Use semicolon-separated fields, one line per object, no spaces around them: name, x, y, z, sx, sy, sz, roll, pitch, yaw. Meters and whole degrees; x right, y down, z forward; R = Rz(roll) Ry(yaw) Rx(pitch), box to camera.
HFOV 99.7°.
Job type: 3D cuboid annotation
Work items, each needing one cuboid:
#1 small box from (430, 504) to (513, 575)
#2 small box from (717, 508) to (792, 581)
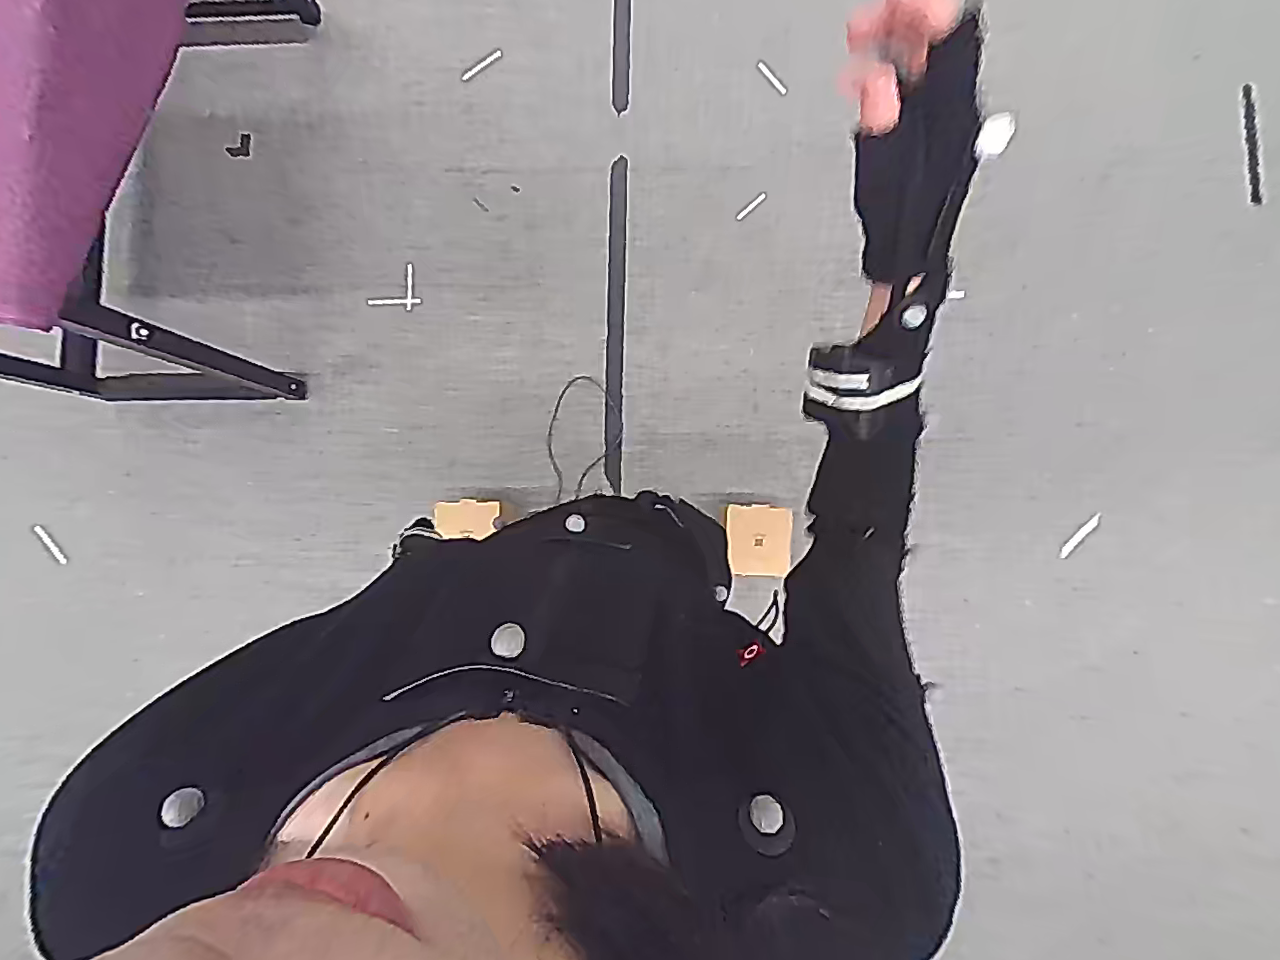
small box;-0.438;0.158;1.429;0.168;0.176;0.179;1;84;0
small box;0.297;0.167;1.429;0.168;0.176;0.179;3;87;2
